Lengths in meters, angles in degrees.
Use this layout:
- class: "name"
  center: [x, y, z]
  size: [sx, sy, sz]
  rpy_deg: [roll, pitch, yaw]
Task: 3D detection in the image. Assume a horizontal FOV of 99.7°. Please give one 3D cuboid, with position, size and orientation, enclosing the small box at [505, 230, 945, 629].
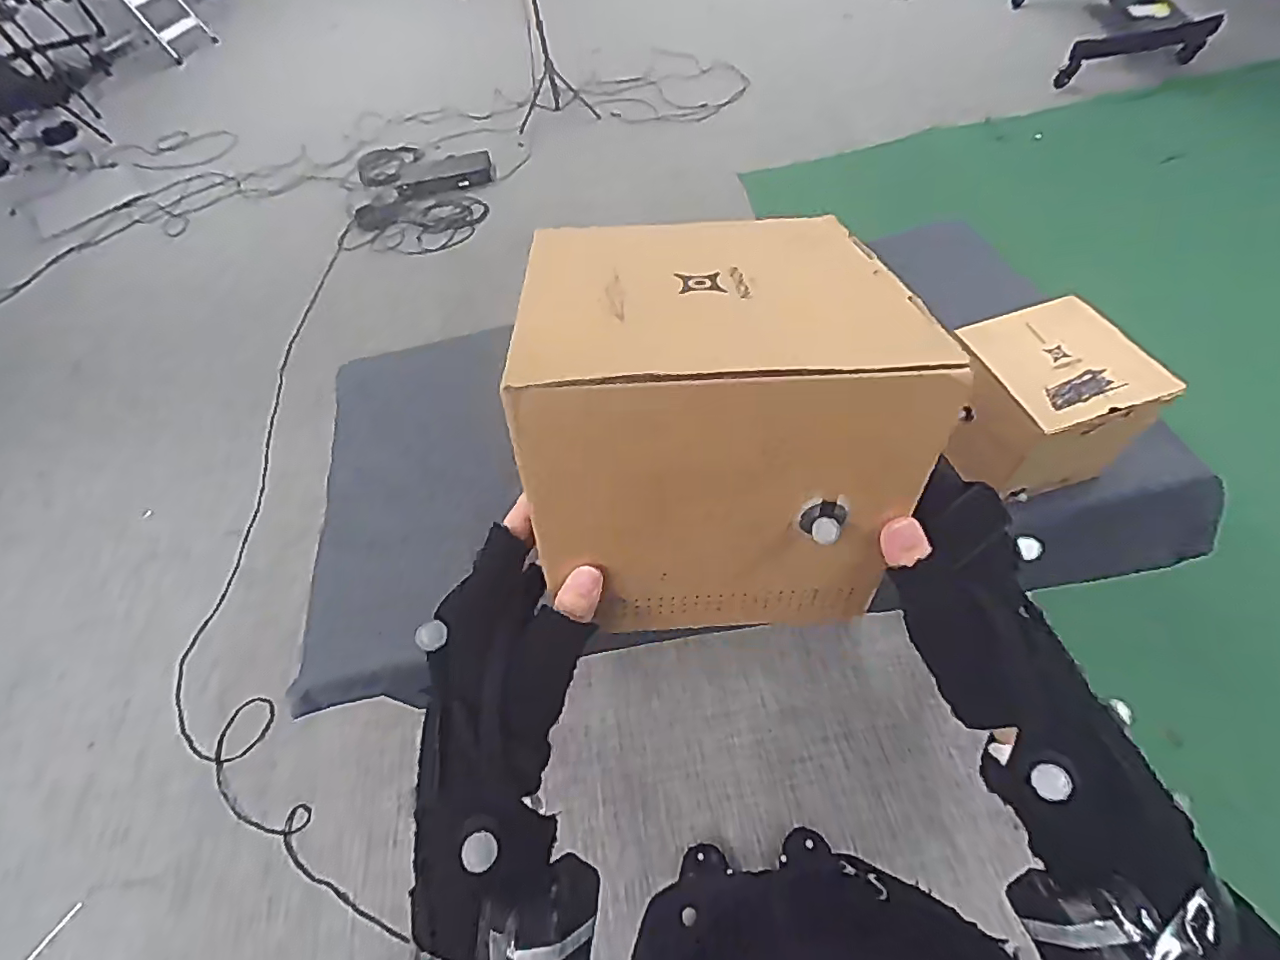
- class: "small box"
  center: [0.032, -0.030, 0.320]
  size: [0.179, 0.176, 0.168]
  rpy_deg: [-4, 42, -1]

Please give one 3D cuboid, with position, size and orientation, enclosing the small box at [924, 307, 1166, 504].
- class: "small box"
  center: [0.494, -0.087, 0.705]
  size: [0.168, 0.176, 0.179]
  rpy_deg: [-16, 55, -2]
